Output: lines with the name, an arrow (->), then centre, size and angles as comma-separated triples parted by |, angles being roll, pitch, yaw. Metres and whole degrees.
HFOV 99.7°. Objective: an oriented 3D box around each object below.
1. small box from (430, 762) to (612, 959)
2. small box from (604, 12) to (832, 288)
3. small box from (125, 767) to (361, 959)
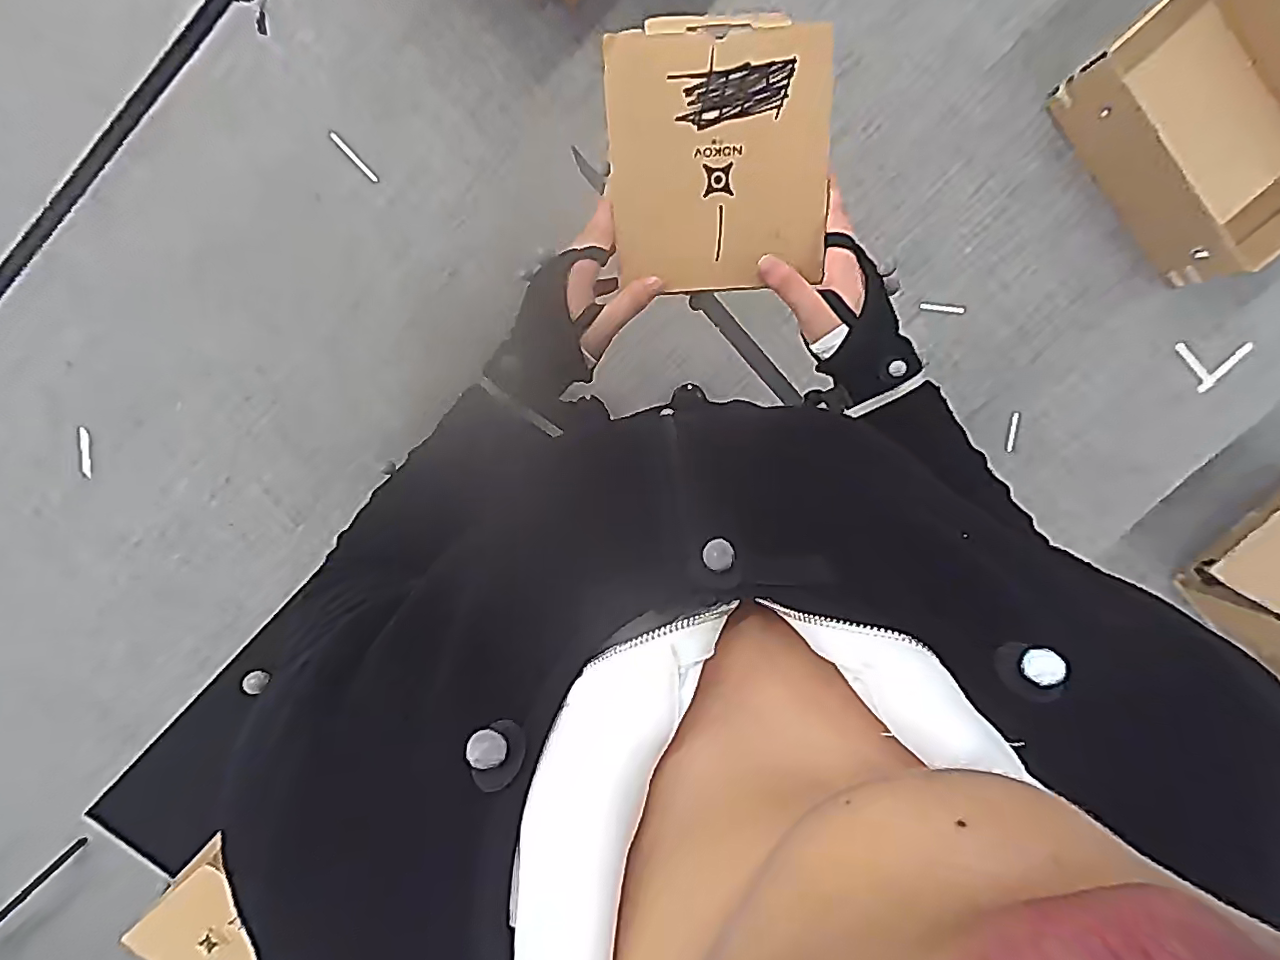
small box -> -0.154, 0.554, 0.775 | 0.179, 0.176, 0.168 | 44, 96, -7
small box -> 0.055, -0.267, 0.479 | 0.168, 0.176, 0.179 | -3, 110, 0
small box -> -0.545, 0.563, 0.771 | 0.179, 0.176, 0.168 | -42, 98, 6
